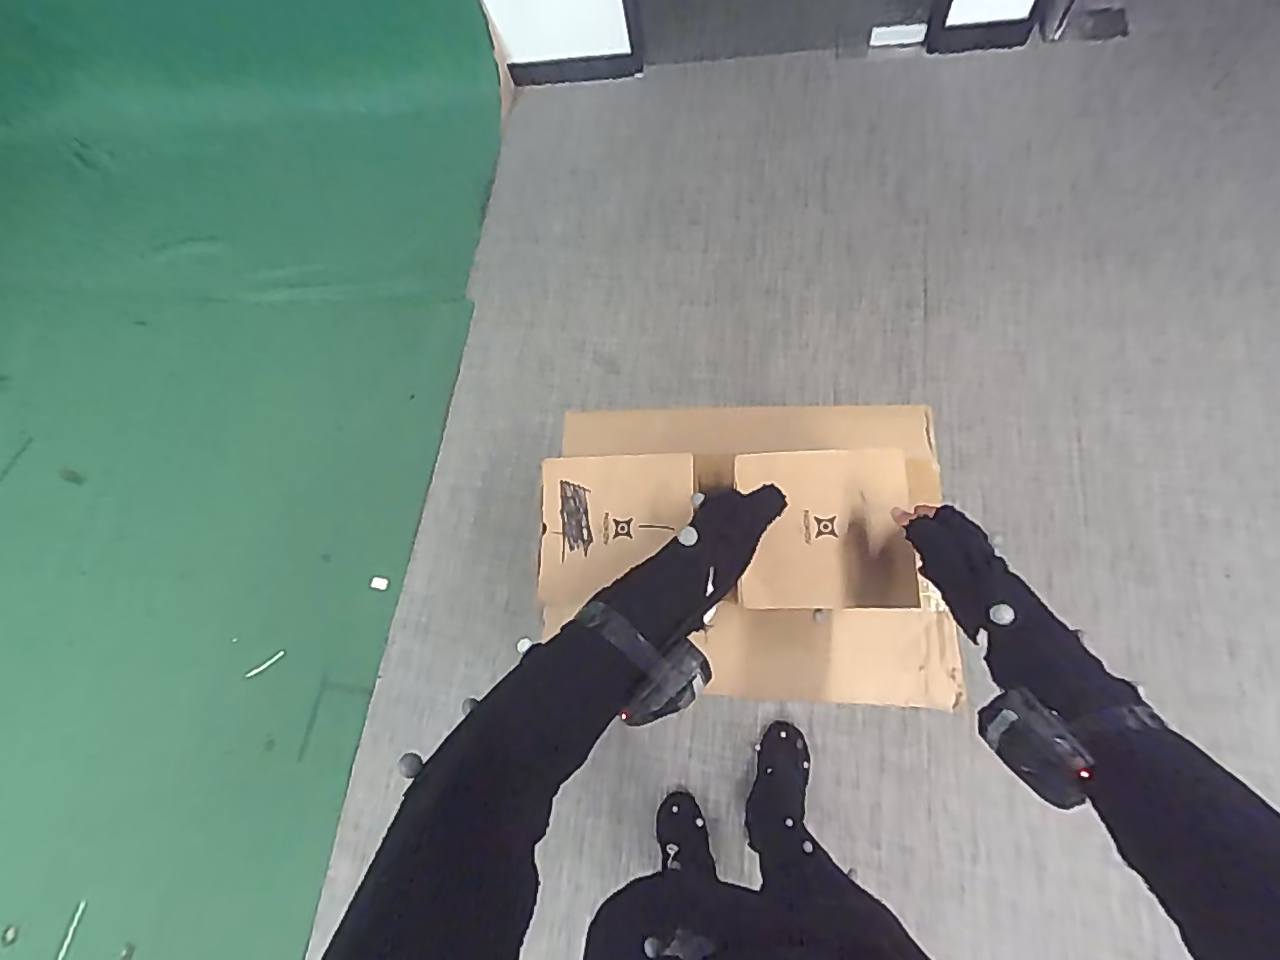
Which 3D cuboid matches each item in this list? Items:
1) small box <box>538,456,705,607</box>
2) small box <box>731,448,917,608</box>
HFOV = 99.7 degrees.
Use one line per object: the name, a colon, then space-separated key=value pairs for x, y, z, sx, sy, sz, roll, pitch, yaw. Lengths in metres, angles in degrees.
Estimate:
small box: x=-0.012 y=0.072 z=0.674 sx=0.179 sy=0.176 sz=0.168 roll=-1 pitch=78 yaw=9
small box: x=0.200 y=0.066 z=0.640 sx=0.179 sy=0.176 sz=0.168 roll=-3 pitch=79 yaw=8
